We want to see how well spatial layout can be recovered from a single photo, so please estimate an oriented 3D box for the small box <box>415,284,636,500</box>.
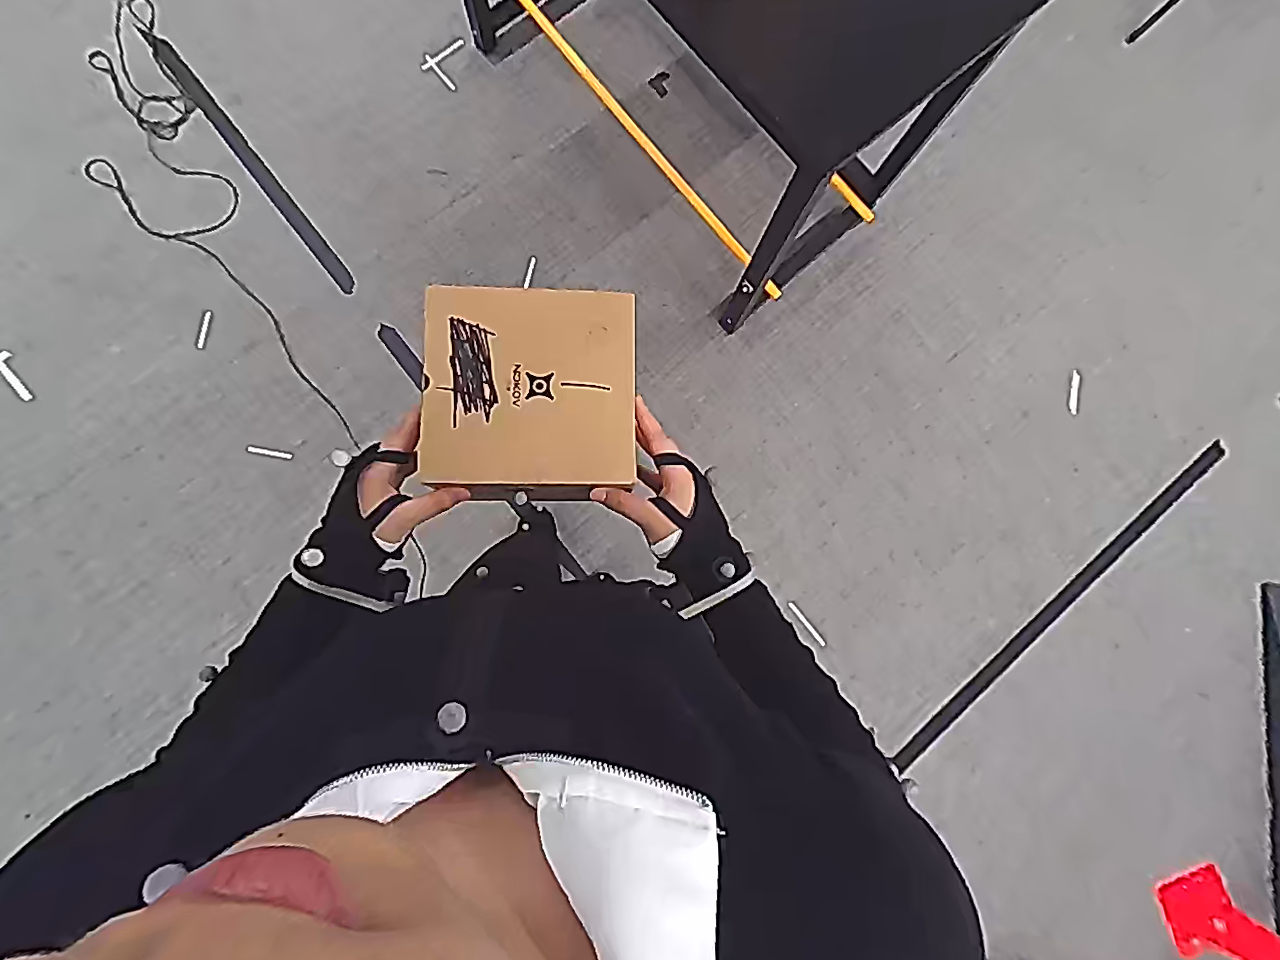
[{"bbox_3d":[-0.095,-0.069,0.517,0.179,0.176,0.168,0,83,-4],"label":"small box"}]
